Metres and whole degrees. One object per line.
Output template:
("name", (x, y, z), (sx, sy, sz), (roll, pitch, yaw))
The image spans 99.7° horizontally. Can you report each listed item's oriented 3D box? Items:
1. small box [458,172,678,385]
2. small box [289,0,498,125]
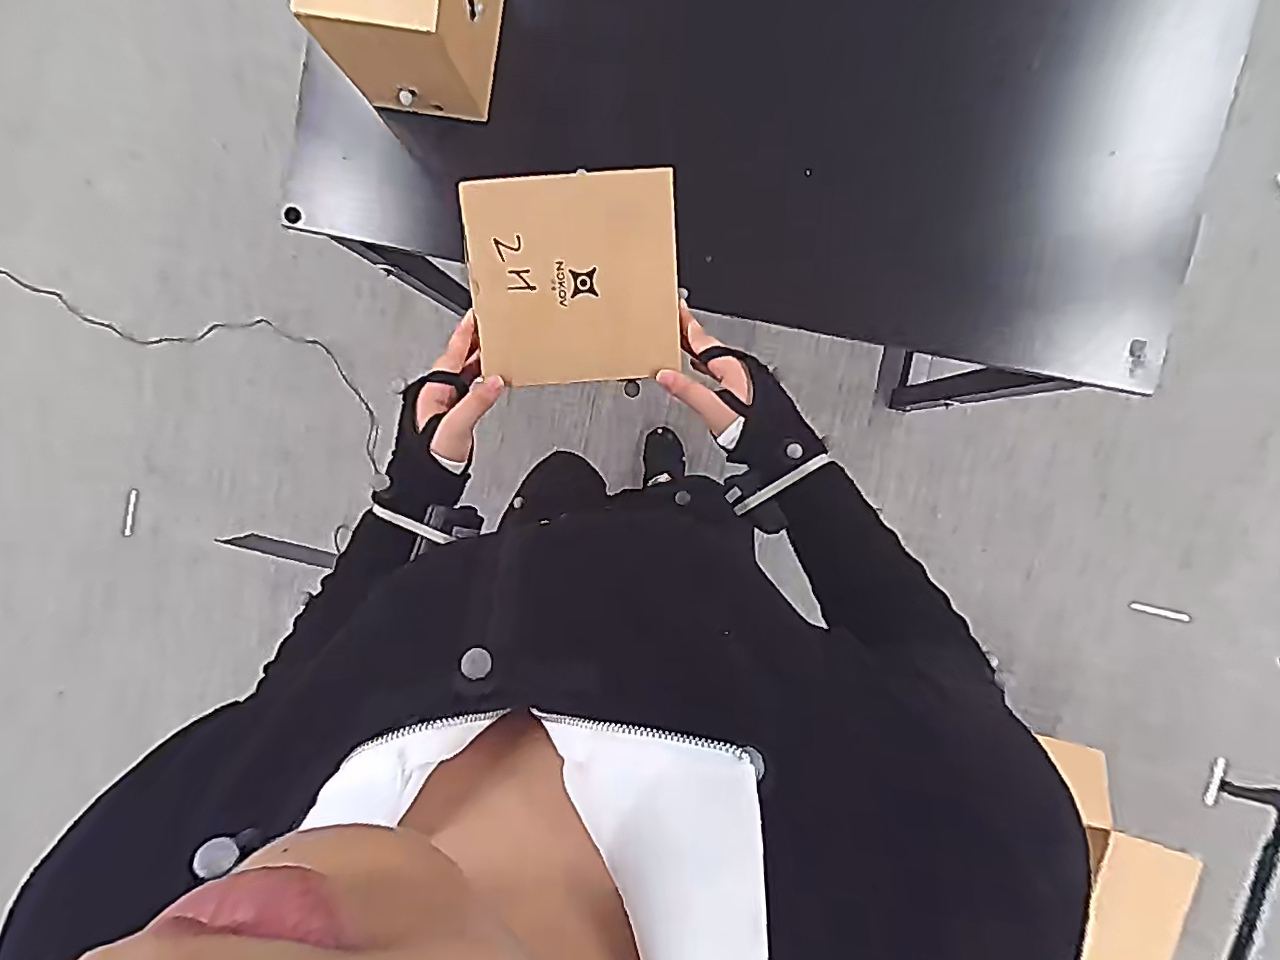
("small box", (-0.059, -0.185, 0.535), (0.179, 0.176, 0.168), (-4, 102, 1))
("small box", (-0.282, -0.577, 0.655), (0.168, 0.176, 0.179), (10, 95, 2))
